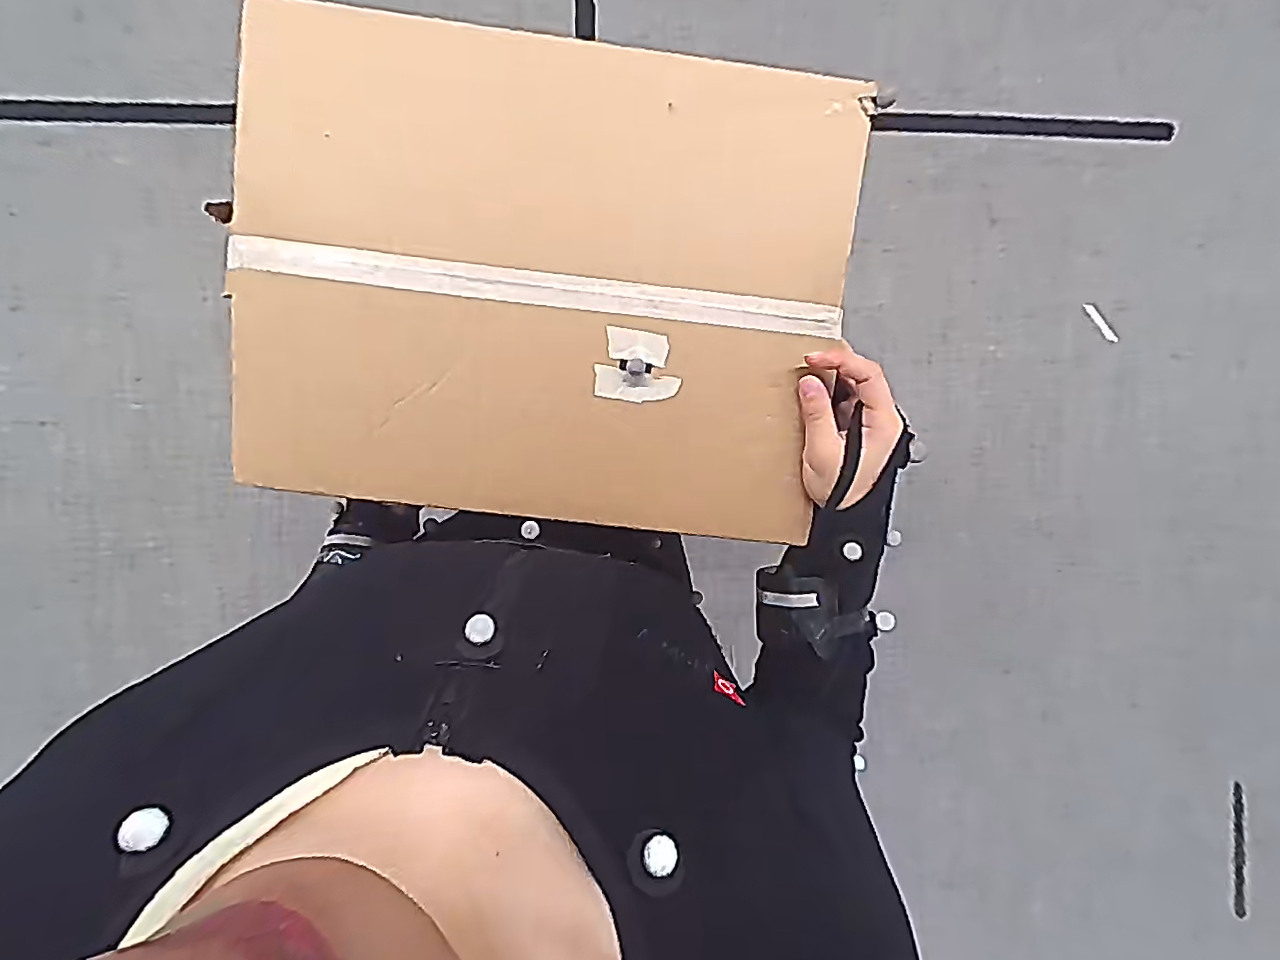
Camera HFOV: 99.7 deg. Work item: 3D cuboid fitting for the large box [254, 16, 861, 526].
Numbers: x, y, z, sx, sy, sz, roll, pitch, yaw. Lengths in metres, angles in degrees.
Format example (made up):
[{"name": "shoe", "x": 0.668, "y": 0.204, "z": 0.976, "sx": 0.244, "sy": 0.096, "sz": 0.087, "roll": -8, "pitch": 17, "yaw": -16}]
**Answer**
[{"name": "large box", "x": -0.067, "y": -0.149, "z": 0.520, "sx": 0.408, "sy": 0.320, "sz": 0.320, "roll": 6, "pitch": 97, "yaw": -3}]
